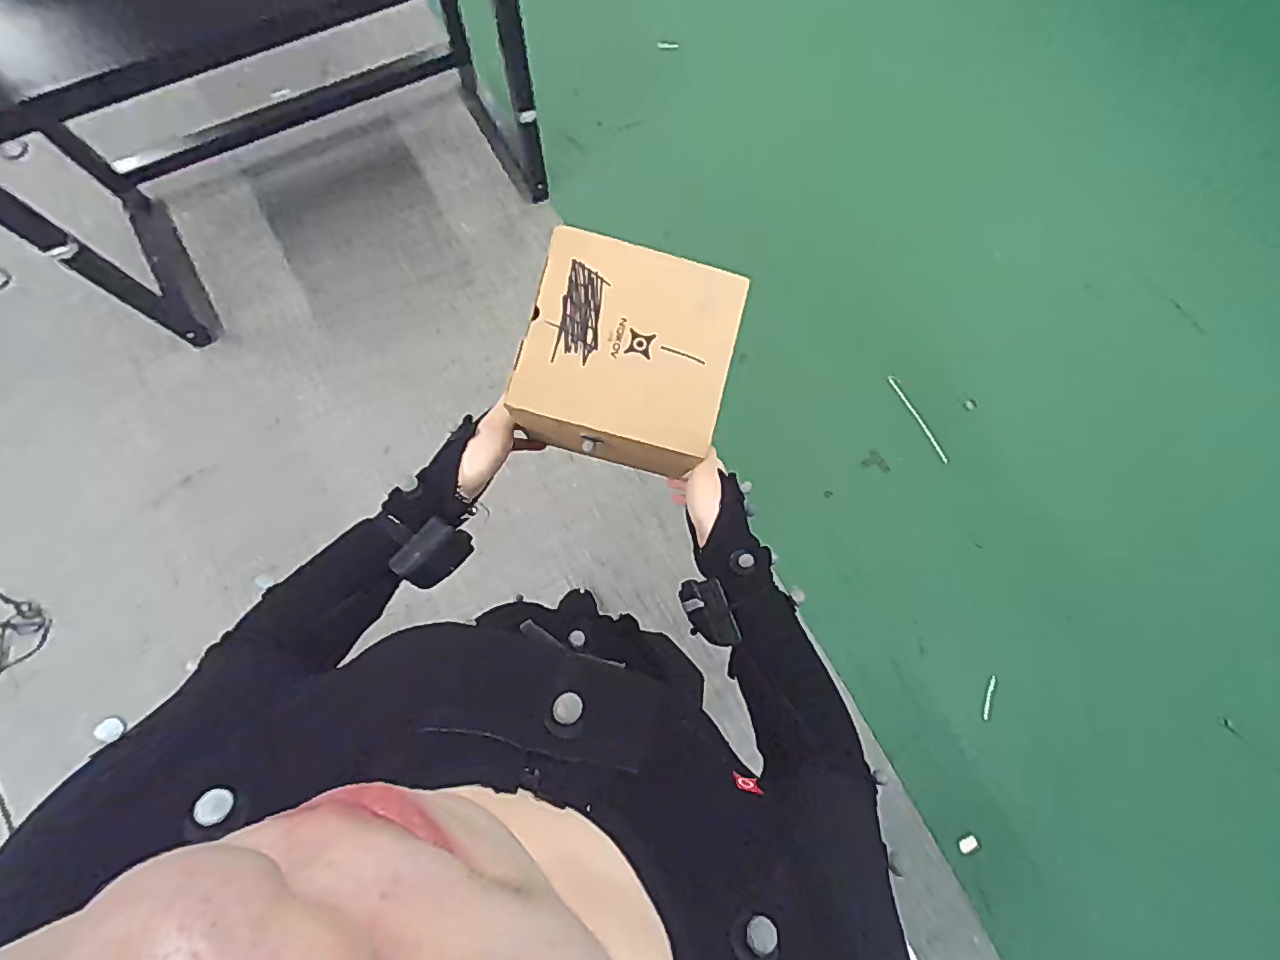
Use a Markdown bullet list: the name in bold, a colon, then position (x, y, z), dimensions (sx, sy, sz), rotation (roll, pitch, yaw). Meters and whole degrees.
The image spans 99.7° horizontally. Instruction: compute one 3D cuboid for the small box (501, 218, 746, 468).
- **small box**: position (-0.018, -0.116, 0.535), dimensions (0.179, 0.176, 0.168), rotation (16, 83, -4)
